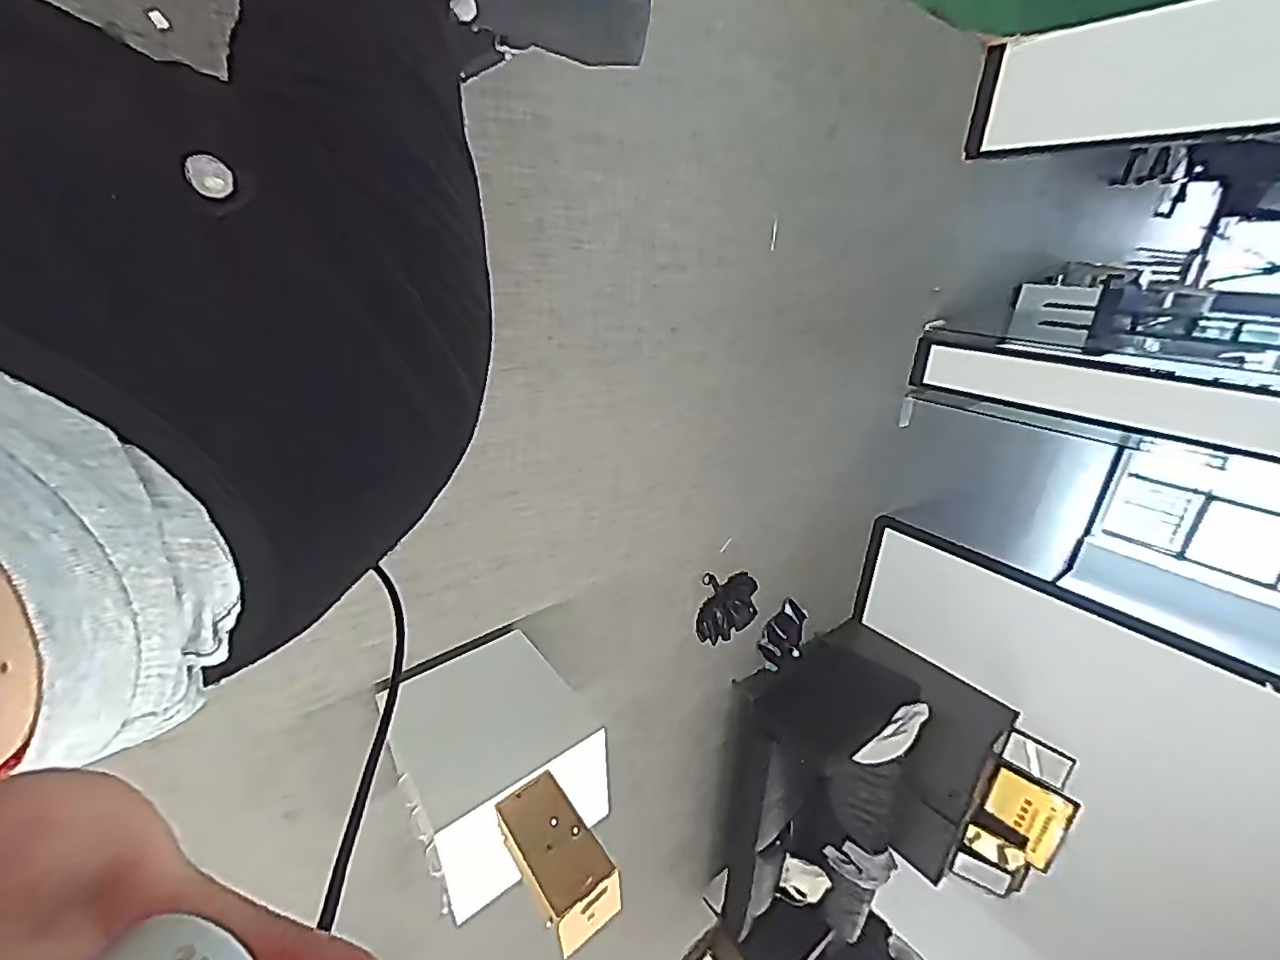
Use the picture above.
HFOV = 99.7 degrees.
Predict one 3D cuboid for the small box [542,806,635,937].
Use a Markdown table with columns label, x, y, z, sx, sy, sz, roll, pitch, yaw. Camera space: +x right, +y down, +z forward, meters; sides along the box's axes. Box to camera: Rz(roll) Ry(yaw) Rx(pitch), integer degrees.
| label | x | y | z | sx | sy | sz | roll | pitch | yaw |
| --- | --- | --- | --- | --- | --- | --- | --- | --- | --- |
| small box | -0.129 | 0.956 | 1.340 | 0.168 | 0.176 | 0.179 | -23 | 125 | -32 |

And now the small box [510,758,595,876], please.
| label | x | y | z | sx | sy | sz | roll | pitch | yaw |
| --- | --- | --- | --- | --- | --- | --- | --- | --- | --- |
| small box | -0.232 | 0.898 | 1.456 | 0.168 | 0.176 | 0.179 | -24 | 126 | -32 |
